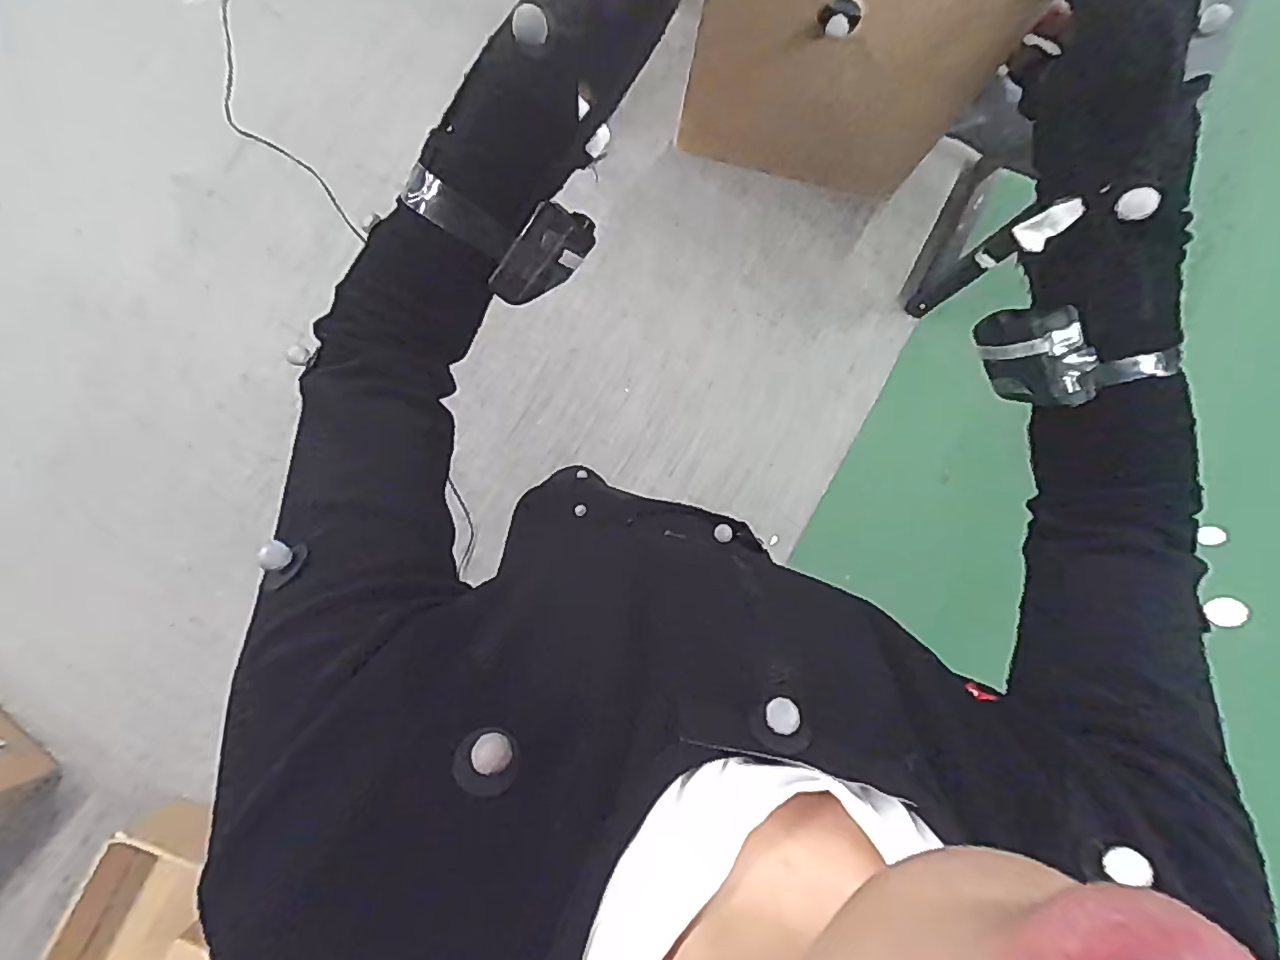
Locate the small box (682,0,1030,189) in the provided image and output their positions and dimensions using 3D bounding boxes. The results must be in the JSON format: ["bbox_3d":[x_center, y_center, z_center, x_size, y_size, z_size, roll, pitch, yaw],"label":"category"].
[{"bbox_3d":[0.133,-0.330,0.359,0.179,0.176,0.168,11,80,-4],"label":"small box"}]
